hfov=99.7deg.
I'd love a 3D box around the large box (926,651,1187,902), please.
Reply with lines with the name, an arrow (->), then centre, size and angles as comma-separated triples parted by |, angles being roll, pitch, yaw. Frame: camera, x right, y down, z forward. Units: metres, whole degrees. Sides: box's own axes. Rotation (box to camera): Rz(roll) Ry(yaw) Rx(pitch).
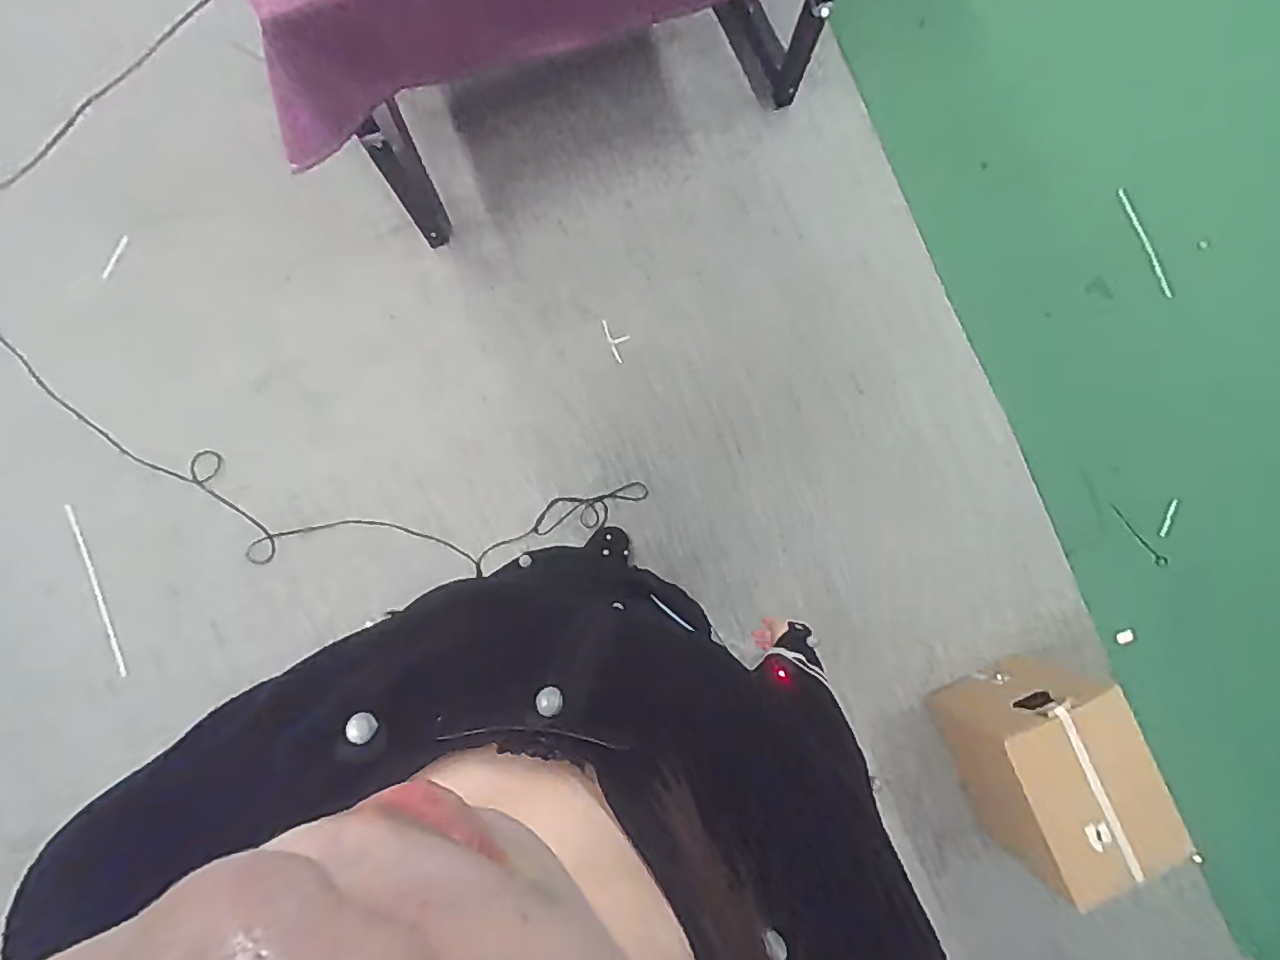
large box -> 1.015, 0.708, 1.365 | 0.320, 0.320, 0.408 | -22, 88, -4
